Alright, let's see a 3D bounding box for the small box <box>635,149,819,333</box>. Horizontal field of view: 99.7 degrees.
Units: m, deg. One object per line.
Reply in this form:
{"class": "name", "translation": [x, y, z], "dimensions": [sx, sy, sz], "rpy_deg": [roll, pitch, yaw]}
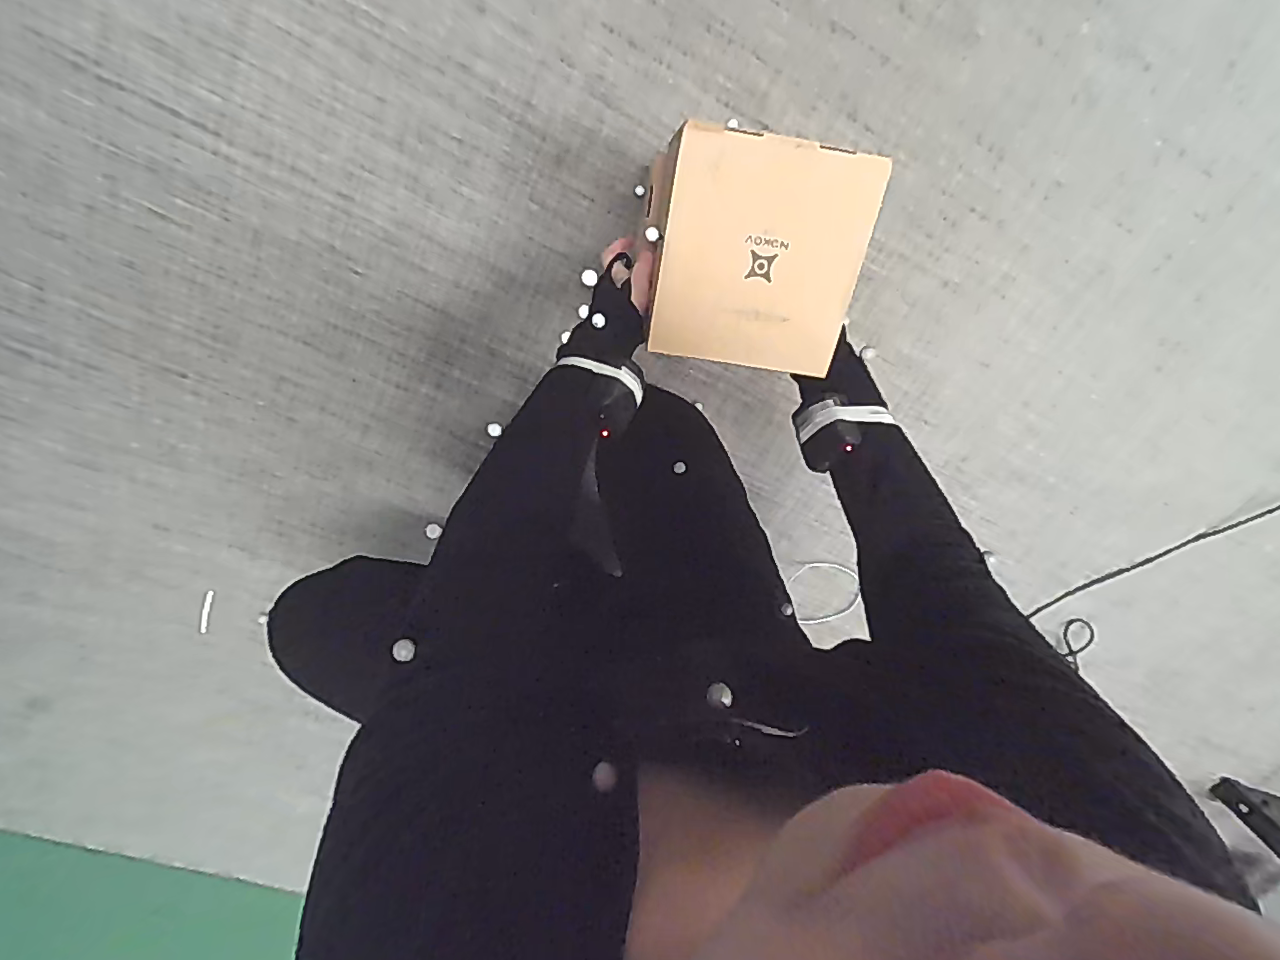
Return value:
{"class": "small box", "translation": [0.090, -0.289, 0.663], "dimensions": [0.179, 0.176, 0.168], "rpy_deg": [7, 116, -5]}
